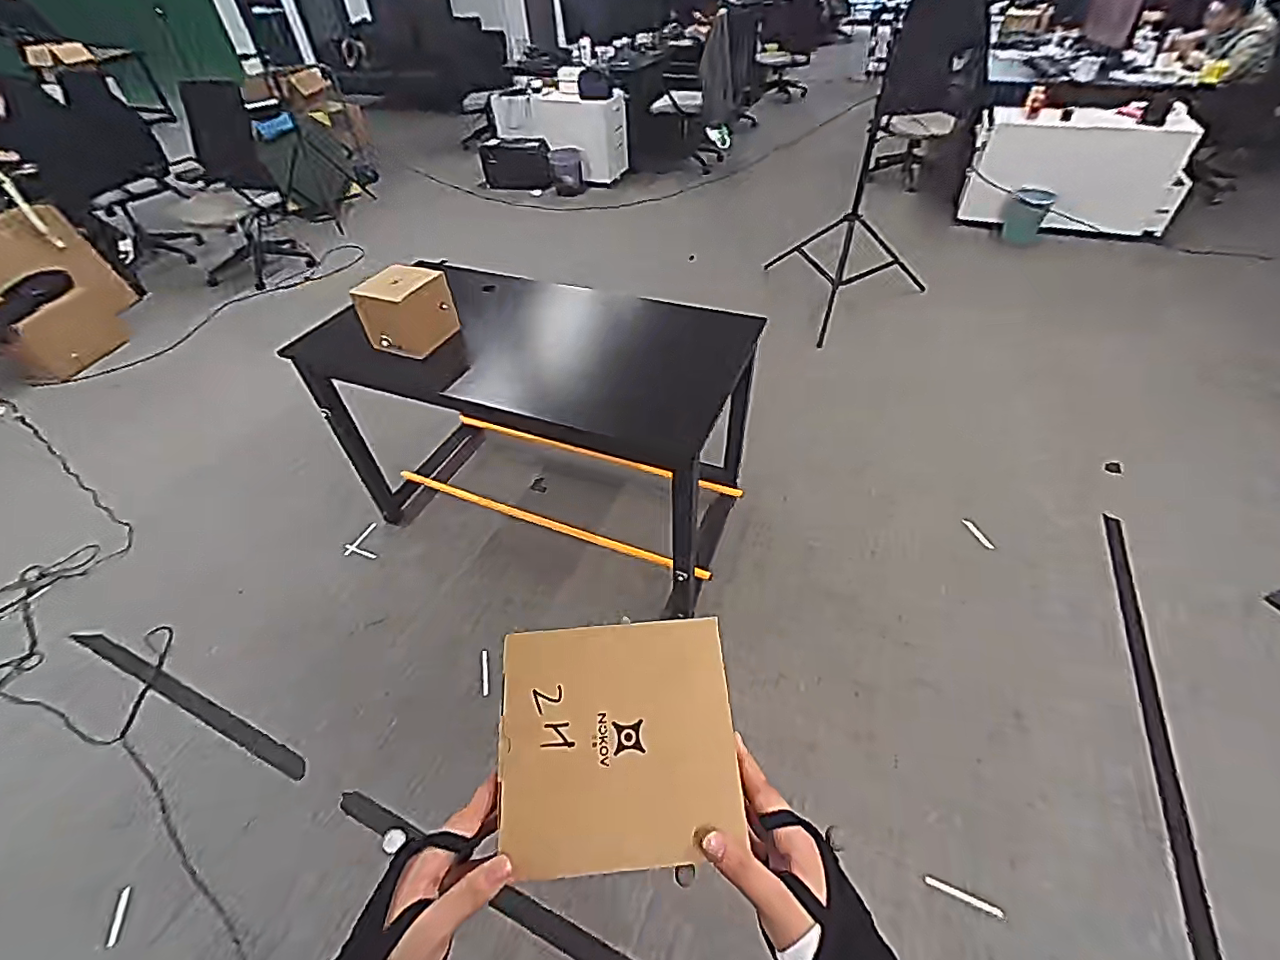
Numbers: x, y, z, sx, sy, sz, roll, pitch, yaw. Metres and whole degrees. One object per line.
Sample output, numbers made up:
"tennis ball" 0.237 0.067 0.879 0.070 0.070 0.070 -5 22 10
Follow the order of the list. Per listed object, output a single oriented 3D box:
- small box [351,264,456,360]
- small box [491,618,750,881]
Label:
"small box" -0.613 -0.445 1.431 0.168 0.176 0.179 15 49 18
"small box" -0.018 0.224 0.466 0.179 0.176 0.168 -4 62 -2
